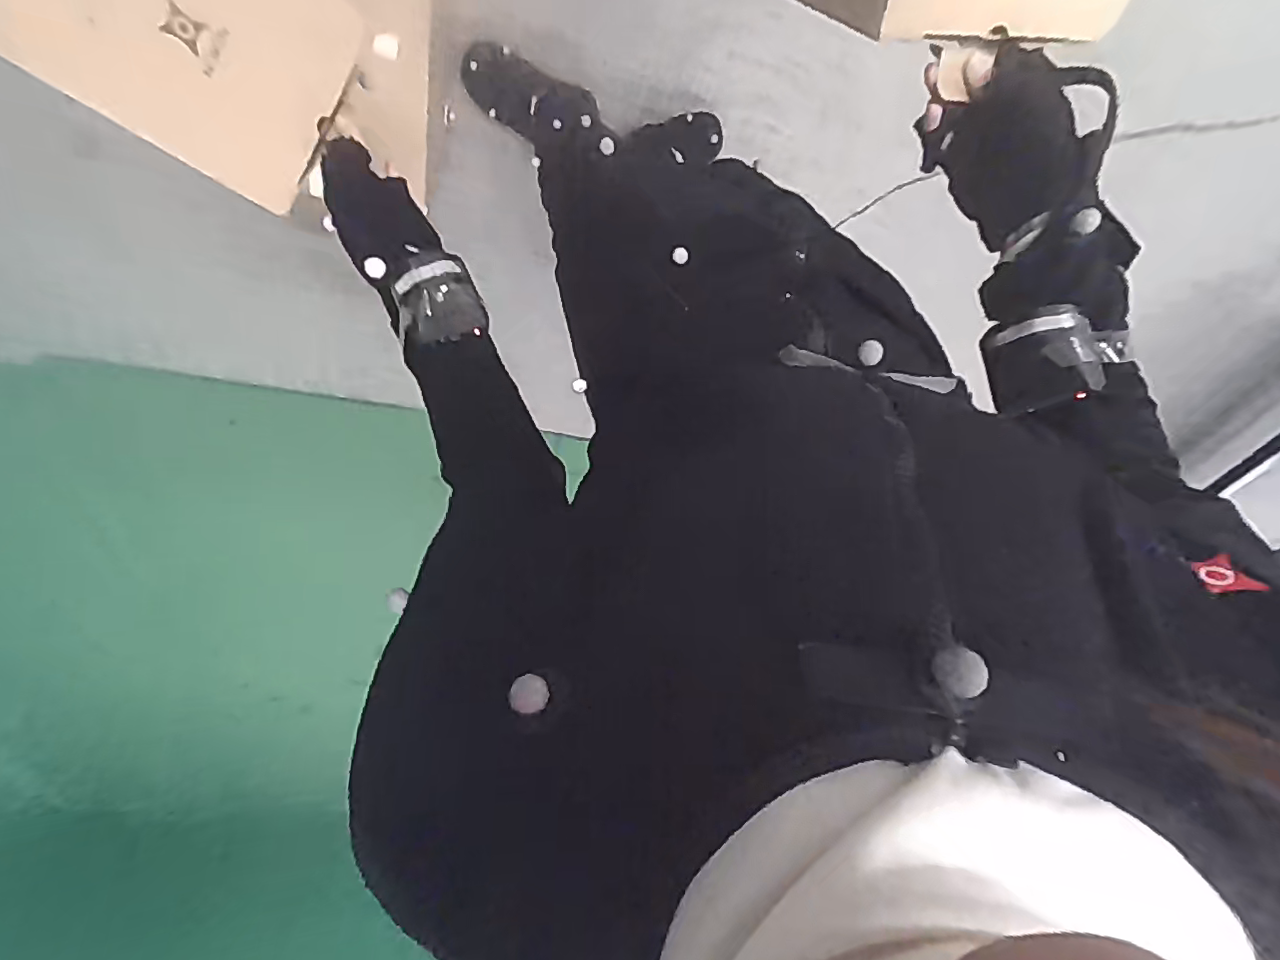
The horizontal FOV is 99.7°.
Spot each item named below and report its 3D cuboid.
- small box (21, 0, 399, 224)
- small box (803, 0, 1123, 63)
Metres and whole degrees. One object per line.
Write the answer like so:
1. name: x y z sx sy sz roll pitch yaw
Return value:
1. small box: -0.313 -0.350 0.431 0.179 0.176 0.168 27 116 -37
2. small box: 0.208 -0.387 0.330 0.168 0.176 0.179 -8 141 -10
